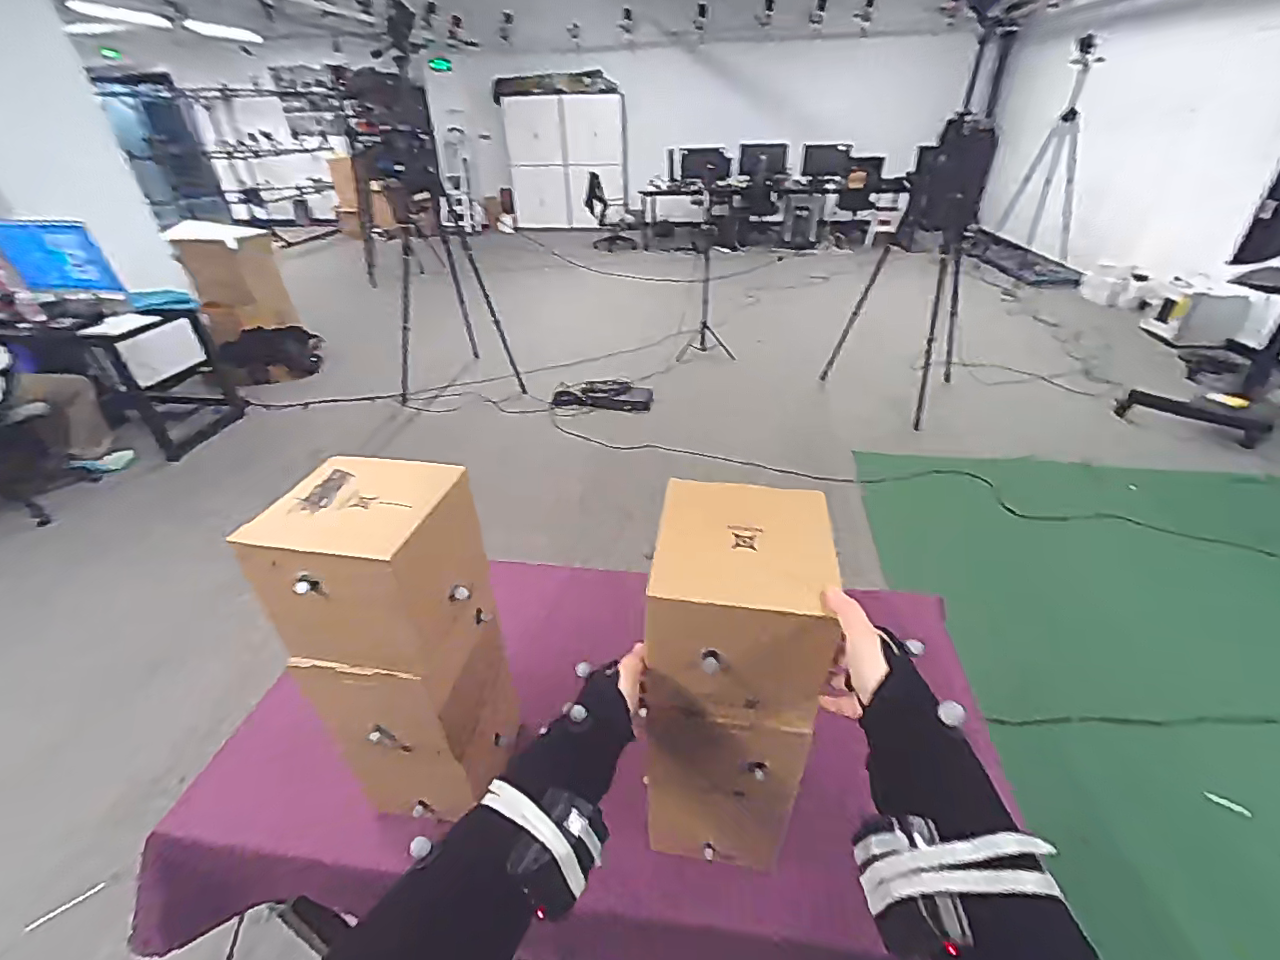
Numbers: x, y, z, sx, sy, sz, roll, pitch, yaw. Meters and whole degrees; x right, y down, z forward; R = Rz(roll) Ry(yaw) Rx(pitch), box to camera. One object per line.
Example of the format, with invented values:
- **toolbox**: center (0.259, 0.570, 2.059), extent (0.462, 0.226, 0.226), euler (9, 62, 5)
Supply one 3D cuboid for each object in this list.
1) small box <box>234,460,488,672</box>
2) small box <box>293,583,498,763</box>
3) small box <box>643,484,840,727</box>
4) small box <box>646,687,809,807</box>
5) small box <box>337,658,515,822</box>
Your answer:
- **small box**: center (-0.295, 0.095, 0.616), extent (0.179, 0.176, 0.168), euler (5, 34, 9)
- **small box**: center (-0.297, 0.232, 0.707), extent (0.168, 0.176, 0.179), euler (3, 34, 8)
- **small box**: center (0.098, 0.126, 0.560), extent (0.168, 0.176, 0.179), euler (5, 35, 7)
- **small box**: center (0.101, 0.261, 0.652), extent (0.168, 0.176, 0.179), euler (4, 34, 7)
- **small box**: center (-0.295, 0.372, 0.795), extent (0.179, 0.176, 0.168), euler (3, 33, 6)
